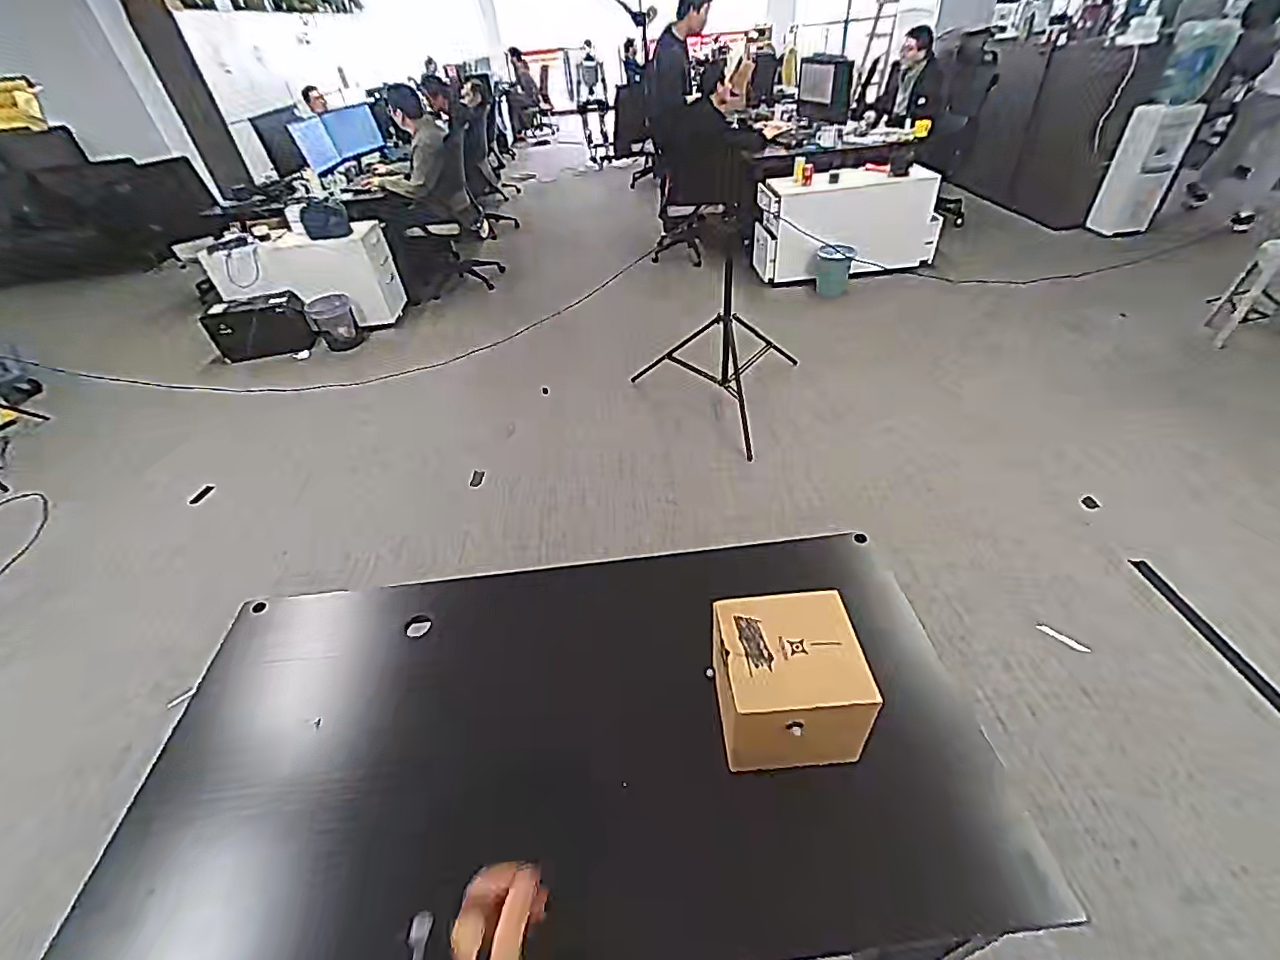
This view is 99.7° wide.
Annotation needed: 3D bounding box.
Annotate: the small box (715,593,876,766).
[{"bbox_3d":[0.202,0.282,0.758,0.179,0.176,0.168,-5,40,1],"label":"small box"}]
